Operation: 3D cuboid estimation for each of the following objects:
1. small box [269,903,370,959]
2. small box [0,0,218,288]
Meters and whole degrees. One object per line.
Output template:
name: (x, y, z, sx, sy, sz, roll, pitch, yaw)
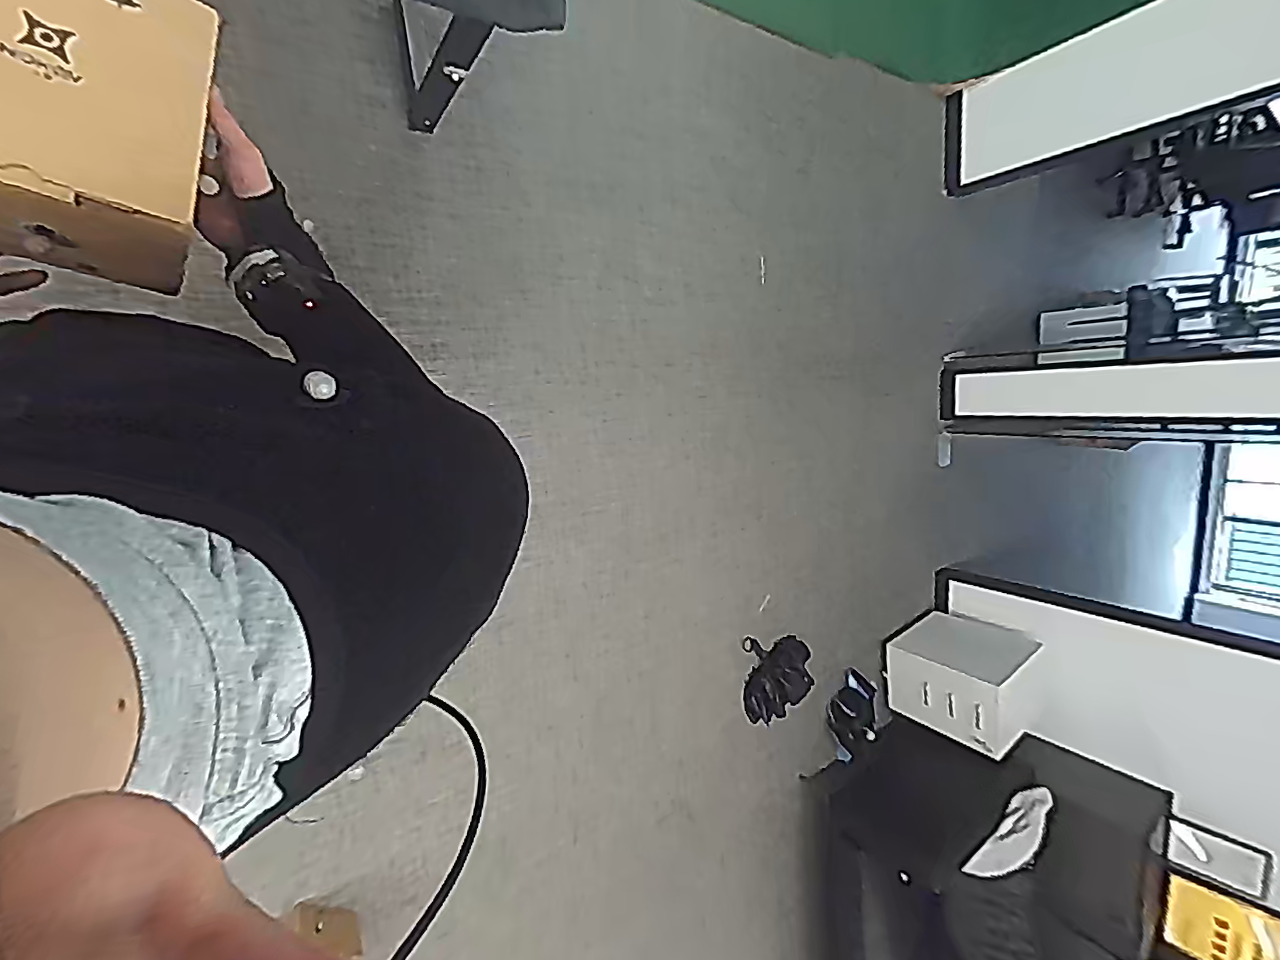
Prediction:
small box: (-0.843, 1.251, 1.407, 0.168, 0.176, 0.179, 39, 74, -32)
small box: (-0.435, -0.267, 0.405, 0.168, 0.176, 0.179, 6, 85, -43)
